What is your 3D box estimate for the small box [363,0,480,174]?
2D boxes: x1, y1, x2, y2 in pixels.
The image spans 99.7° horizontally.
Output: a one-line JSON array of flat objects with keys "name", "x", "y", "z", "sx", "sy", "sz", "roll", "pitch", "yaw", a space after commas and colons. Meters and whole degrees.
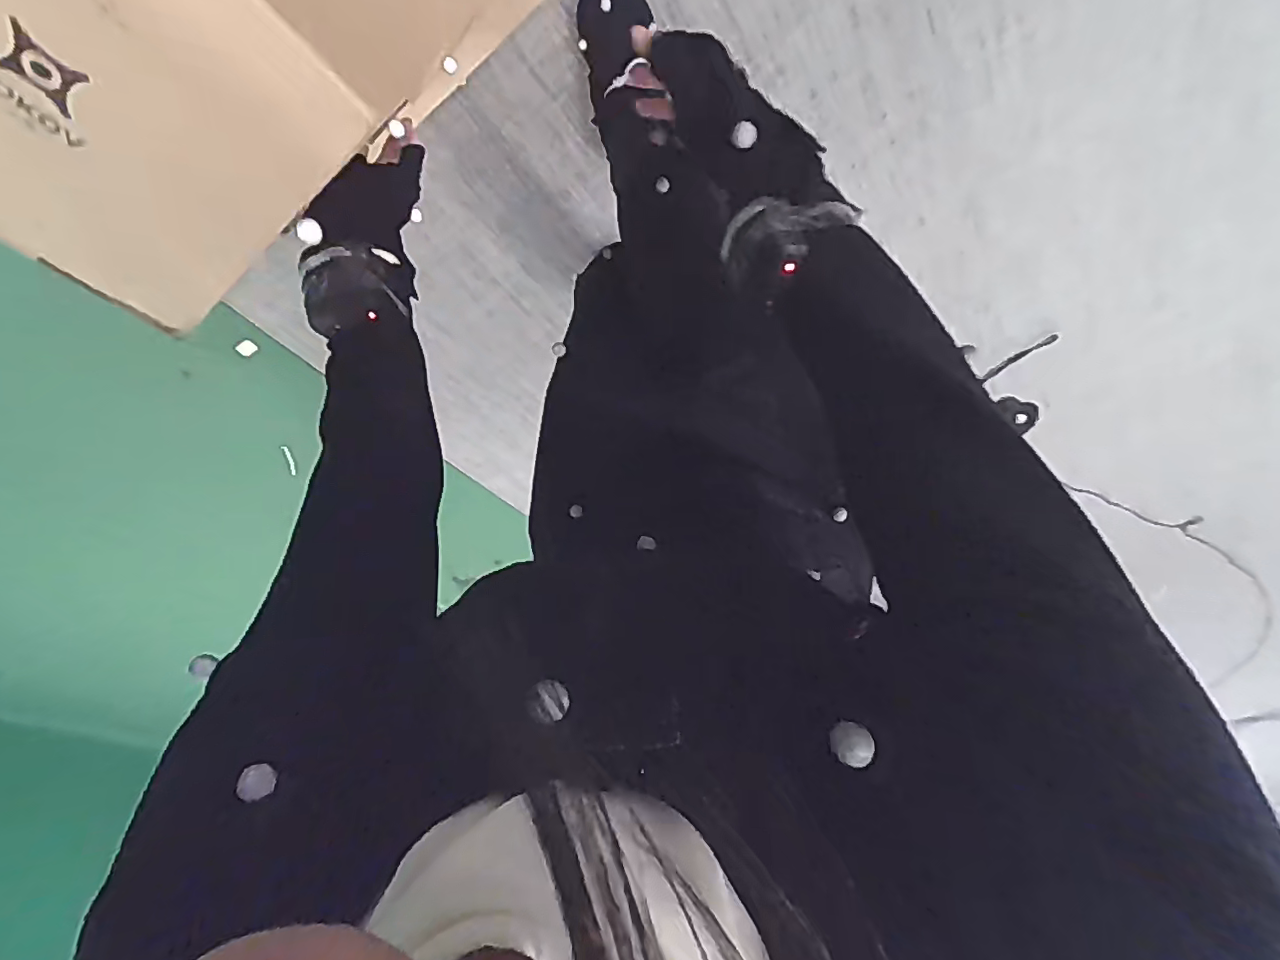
[{"name": "small box", "x": -0.230, "y": -0.324, "z": 0.370, "sx": 0.179, "sy": 0.176, "sz": 0.168, "roll": -25, "pitch": 135, "yaw": 25}]

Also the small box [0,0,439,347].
[{"name": "small box", "x": -0.222, "y": -0.207, "z": 0.259, "sx": 0.179, "sy": 0.176, "sz": 0.168, "roll": -28, "pitch": 135, "yaw": 25}]
